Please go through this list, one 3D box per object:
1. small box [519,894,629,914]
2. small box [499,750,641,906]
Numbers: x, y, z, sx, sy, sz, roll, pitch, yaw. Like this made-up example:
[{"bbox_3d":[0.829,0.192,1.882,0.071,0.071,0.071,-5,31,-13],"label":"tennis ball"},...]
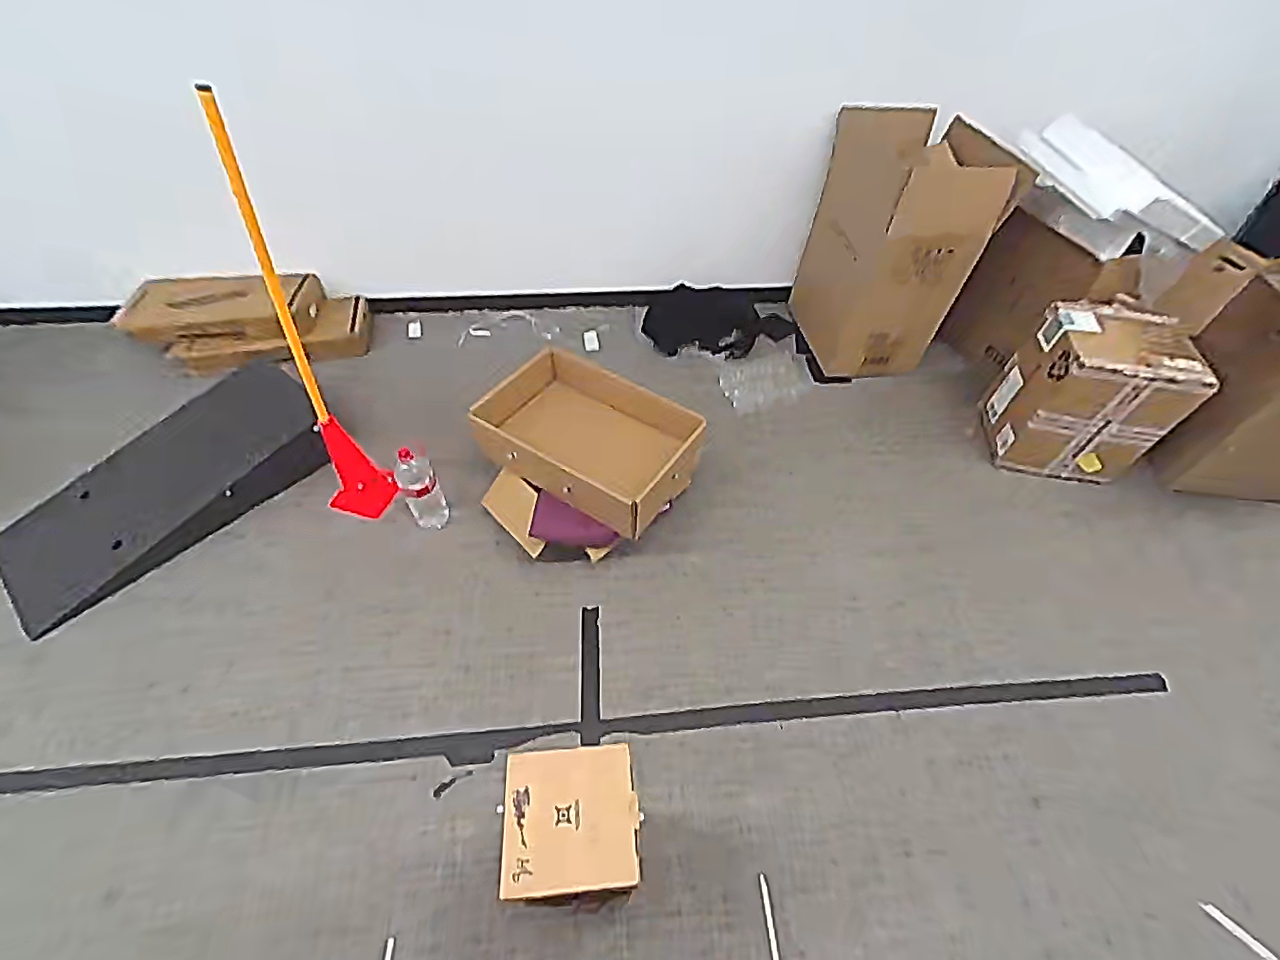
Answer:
[{"bbox_3d":[-0.103,0.607,0.903,0.168,0.176,0.179,-2,50,-5],"label":"small box"},{"bbox_3d":[-0.097,0.500,0.777,0.179,0.176,0.168,-1,50,-6],"label":"small box"}]
